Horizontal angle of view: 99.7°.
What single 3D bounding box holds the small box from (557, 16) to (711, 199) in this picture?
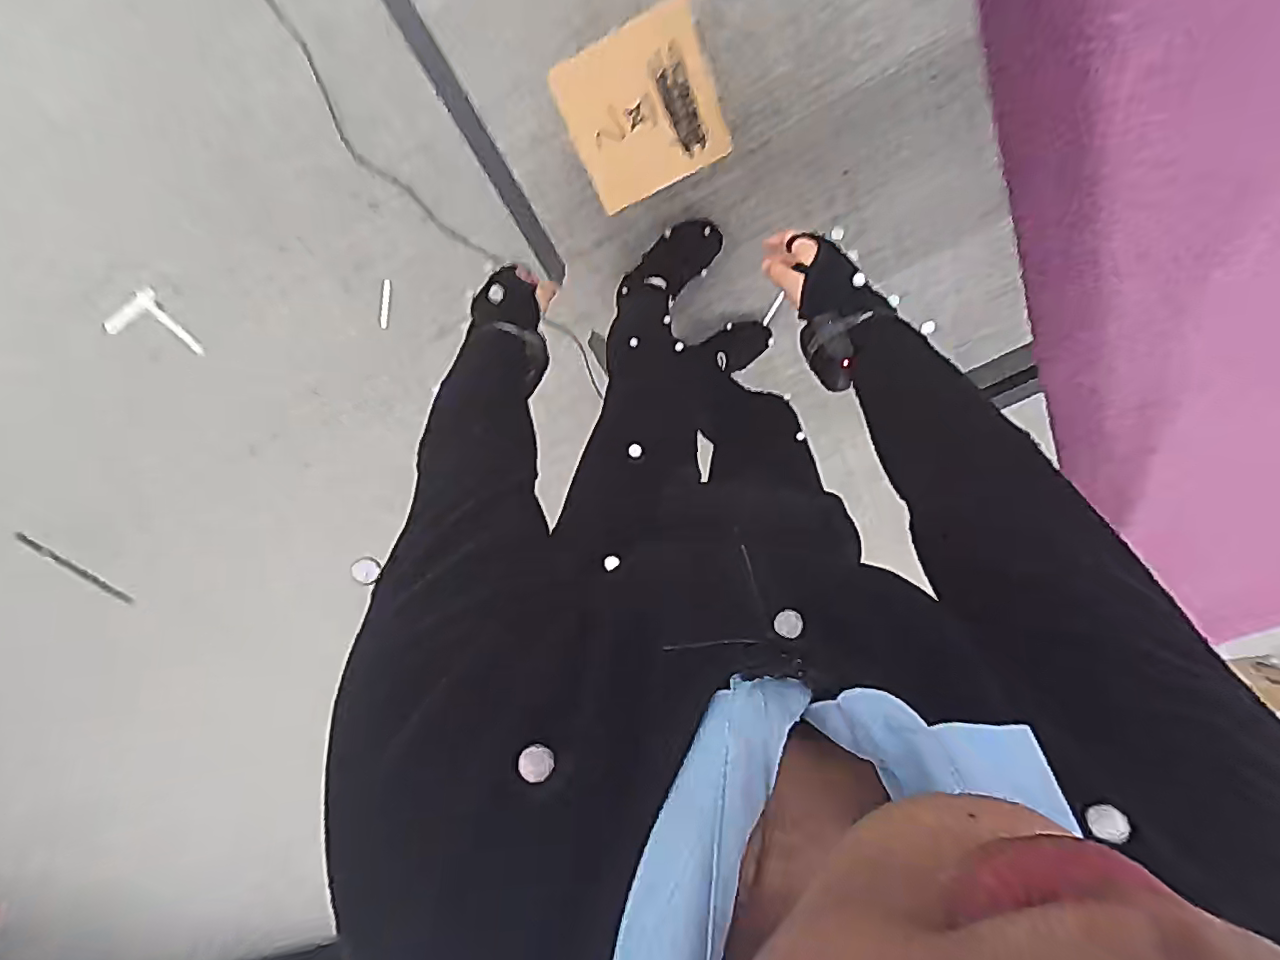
[{"bbox_3d":[-0.009,-0.574,0.840,0.179,0.176,0.168,-23,124,15],"label":"small box"}]
